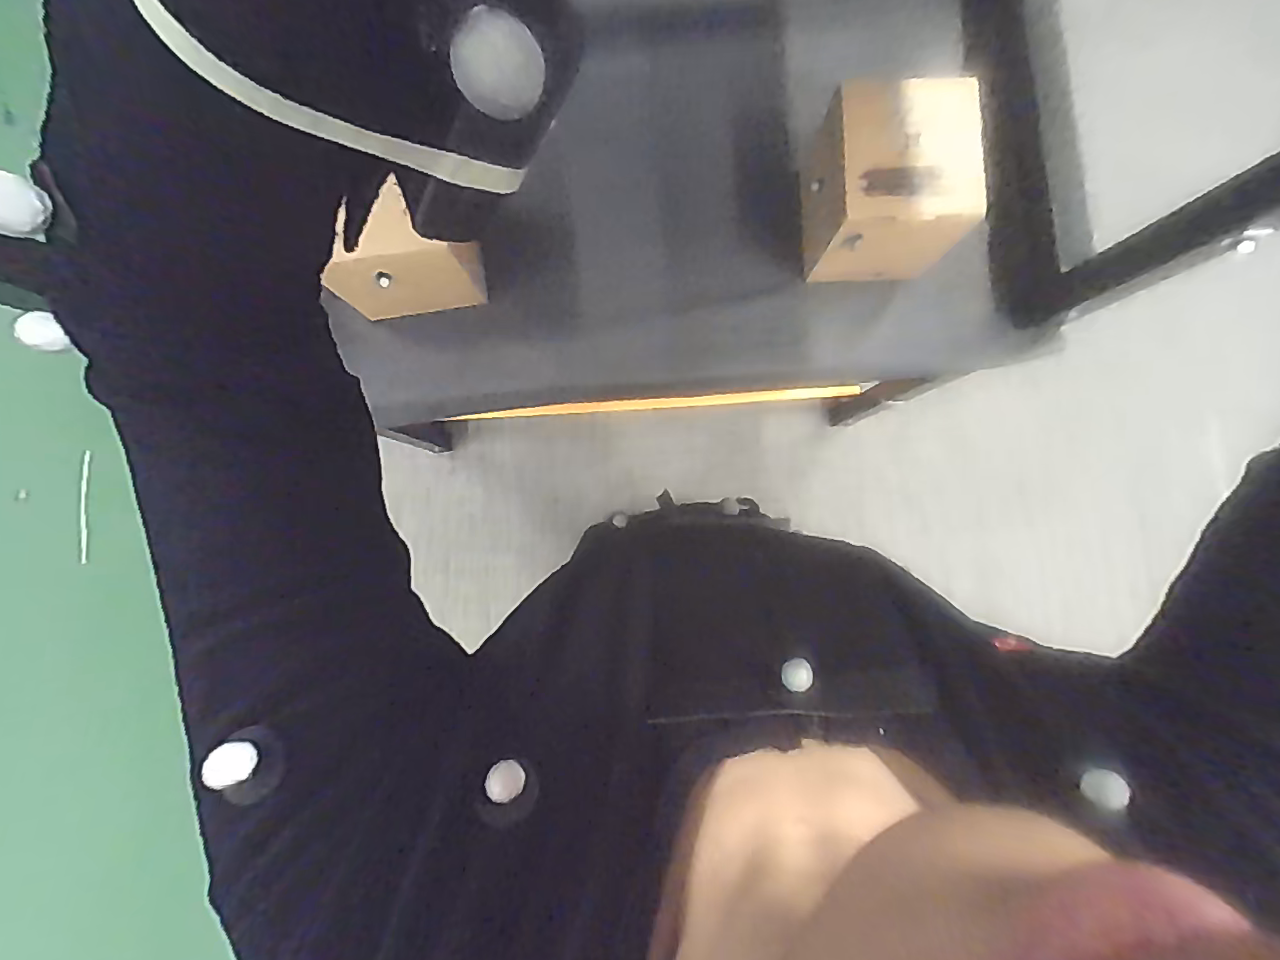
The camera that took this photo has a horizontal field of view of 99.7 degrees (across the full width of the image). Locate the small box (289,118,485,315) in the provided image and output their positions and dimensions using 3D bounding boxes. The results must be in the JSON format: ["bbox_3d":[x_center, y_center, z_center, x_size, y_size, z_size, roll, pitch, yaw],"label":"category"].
[{"bbox_3d":[-0.322,-0.334,0.718,0.179,0.176,0.168,-8,86,-1],"label":"small box"}]
